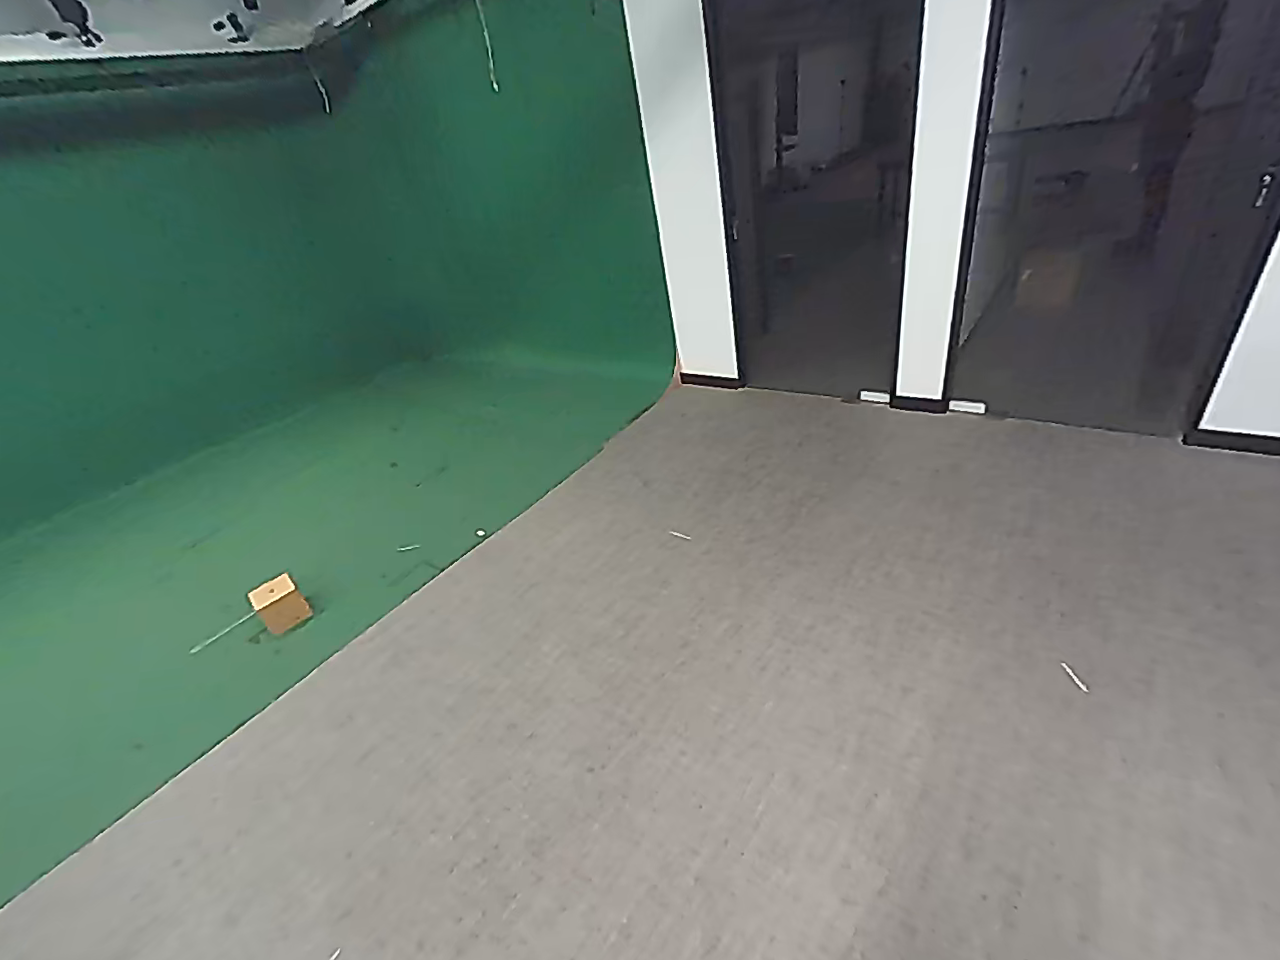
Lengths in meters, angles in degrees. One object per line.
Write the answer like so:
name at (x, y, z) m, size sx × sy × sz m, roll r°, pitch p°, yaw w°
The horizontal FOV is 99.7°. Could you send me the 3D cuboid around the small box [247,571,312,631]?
small box at (-1.599, 0.544, 2.404) m, size 0.168 × 0.176 × 0.179 m, roll -34°, pitch 39°, yaw -32°
